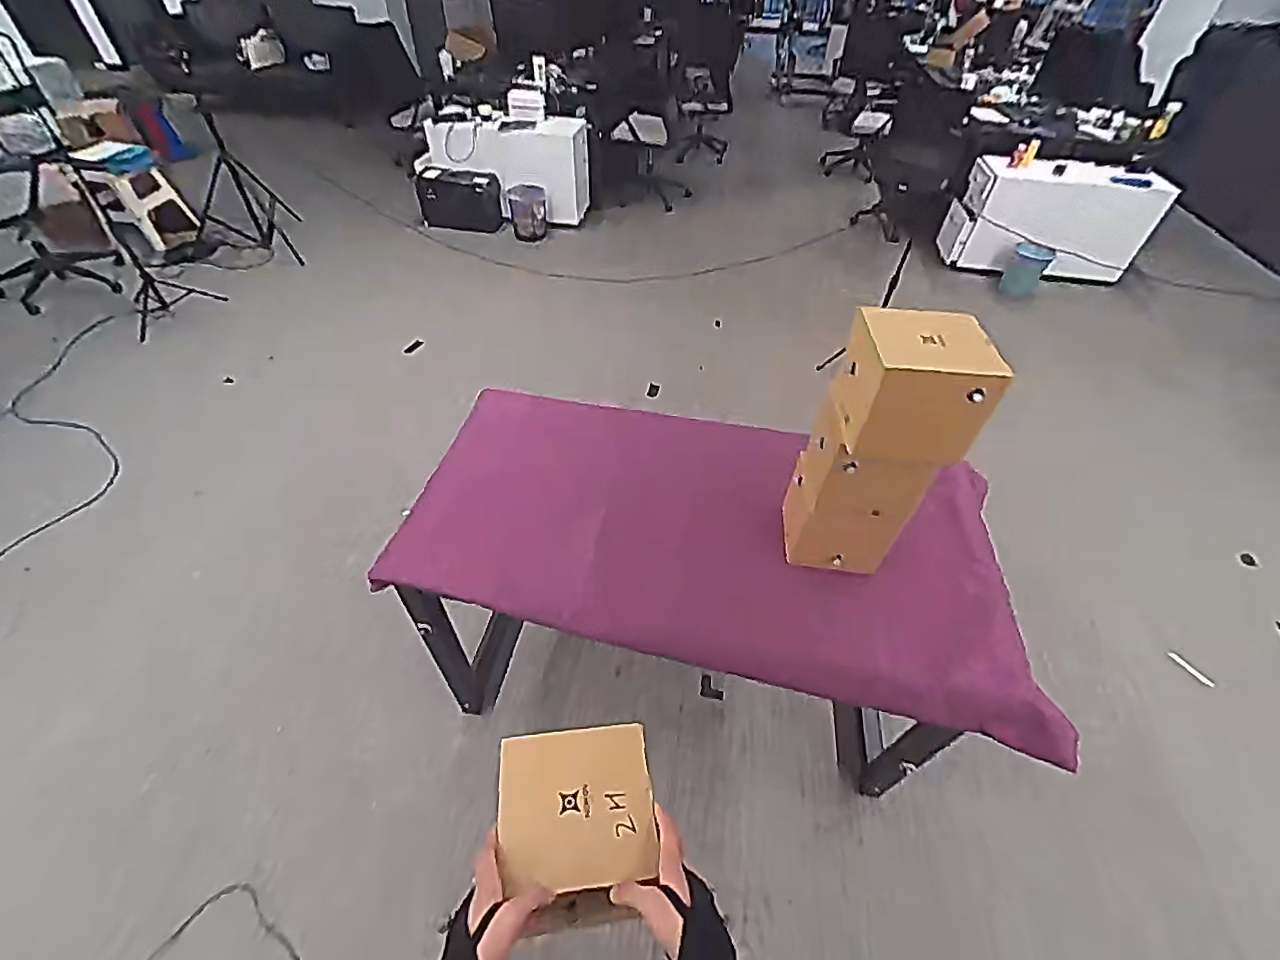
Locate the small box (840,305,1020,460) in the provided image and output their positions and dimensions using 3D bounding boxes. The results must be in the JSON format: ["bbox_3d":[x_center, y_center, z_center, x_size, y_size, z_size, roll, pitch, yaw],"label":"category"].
[{"bbox_3d":[0.418,-0.146,0.823,0.179,0.176,0.168,4,46,2],"label":"small box"}]

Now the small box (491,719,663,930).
[{"bbox_3d":[-0.077,0.413,0.651,0.179,0.176,0.168,-1,41,-9],"label":"small box"}]

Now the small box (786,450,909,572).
[{"bbox_3d":[0.400,0.065,1.074,0.179,0.176,0.168,7,46,3],"label":"small box"}]
